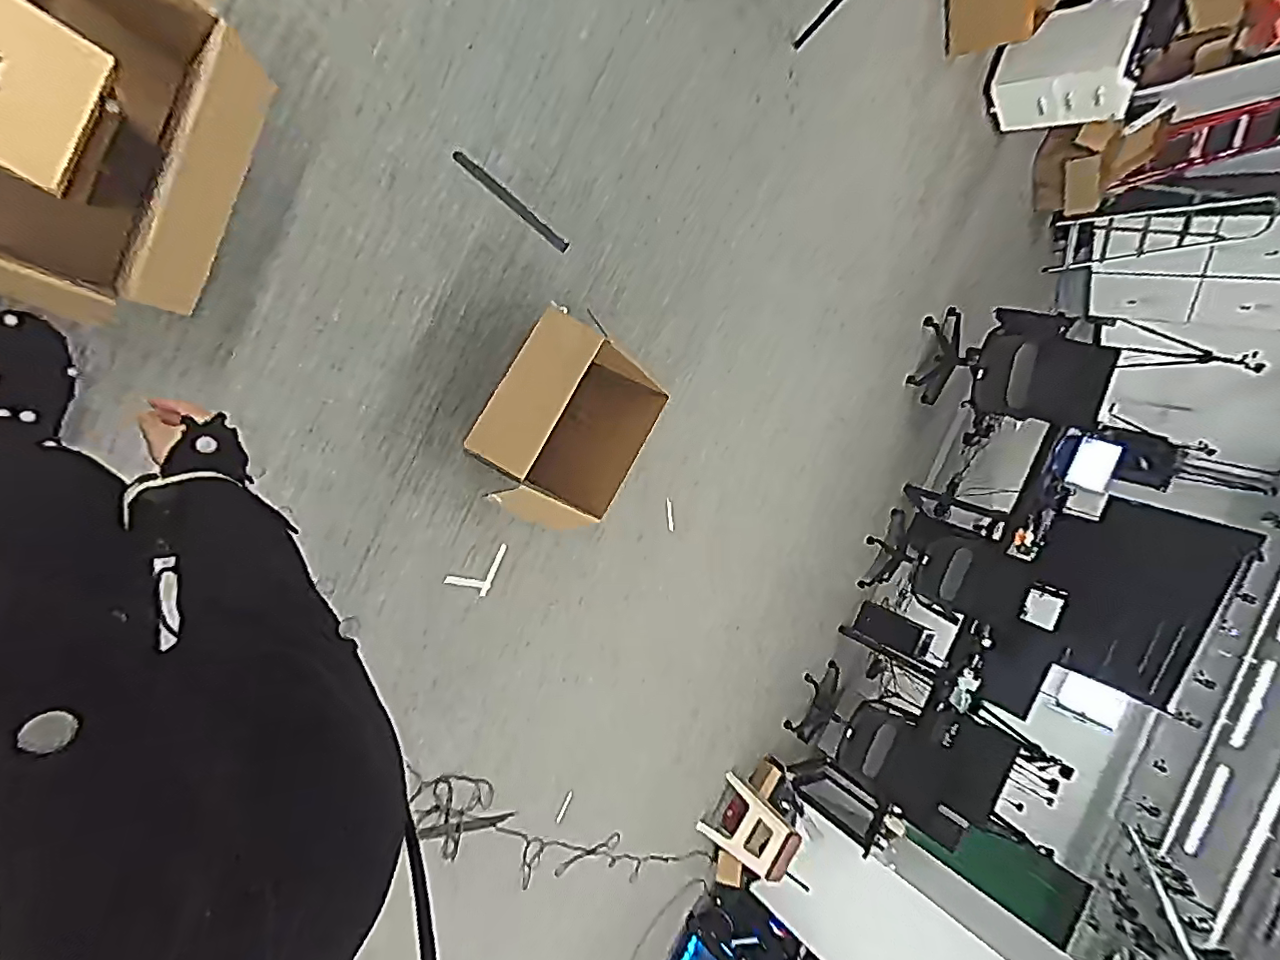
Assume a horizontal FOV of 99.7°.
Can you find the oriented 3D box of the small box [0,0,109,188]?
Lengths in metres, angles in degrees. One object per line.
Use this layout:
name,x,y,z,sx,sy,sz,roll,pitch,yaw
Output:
small box,-0.761,-0.469,0.622,0.168,0.176,0.179,25,89,-48
